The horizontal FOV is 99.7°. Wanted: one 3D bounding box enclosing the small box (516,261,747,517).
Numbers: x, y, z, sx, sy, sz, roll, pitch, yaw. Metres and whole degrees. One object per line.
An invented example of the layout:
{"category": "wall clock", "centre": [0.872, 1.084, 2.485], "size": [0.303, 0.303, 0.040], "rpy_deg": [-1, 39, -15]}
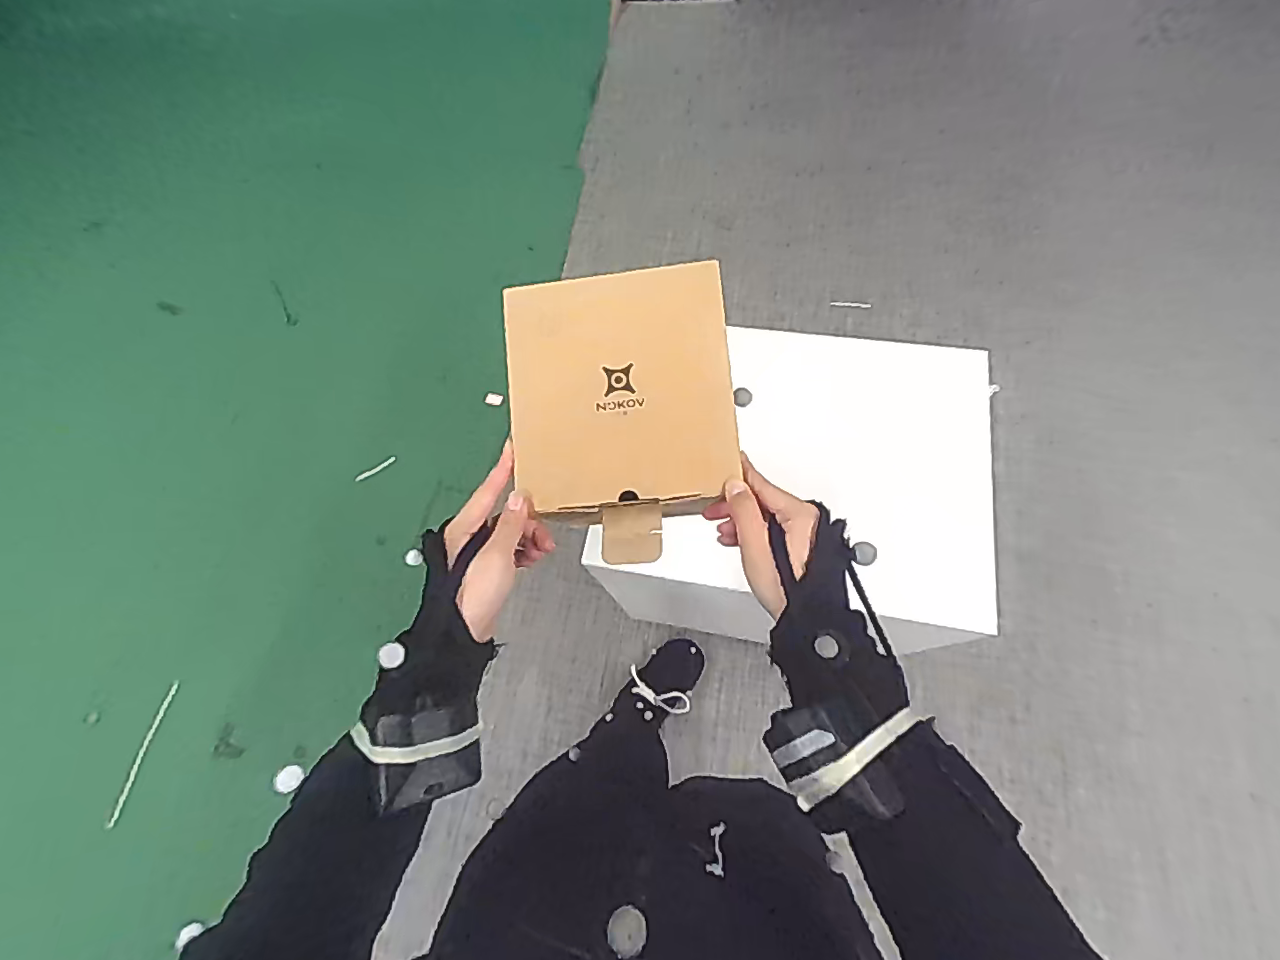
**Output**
{"category": "small box", "centre": [-0.004, -0.063, 0.478], "size": [0.168, 0.176, 0.179], "rpy_deg": [-5, 83, 5]}
